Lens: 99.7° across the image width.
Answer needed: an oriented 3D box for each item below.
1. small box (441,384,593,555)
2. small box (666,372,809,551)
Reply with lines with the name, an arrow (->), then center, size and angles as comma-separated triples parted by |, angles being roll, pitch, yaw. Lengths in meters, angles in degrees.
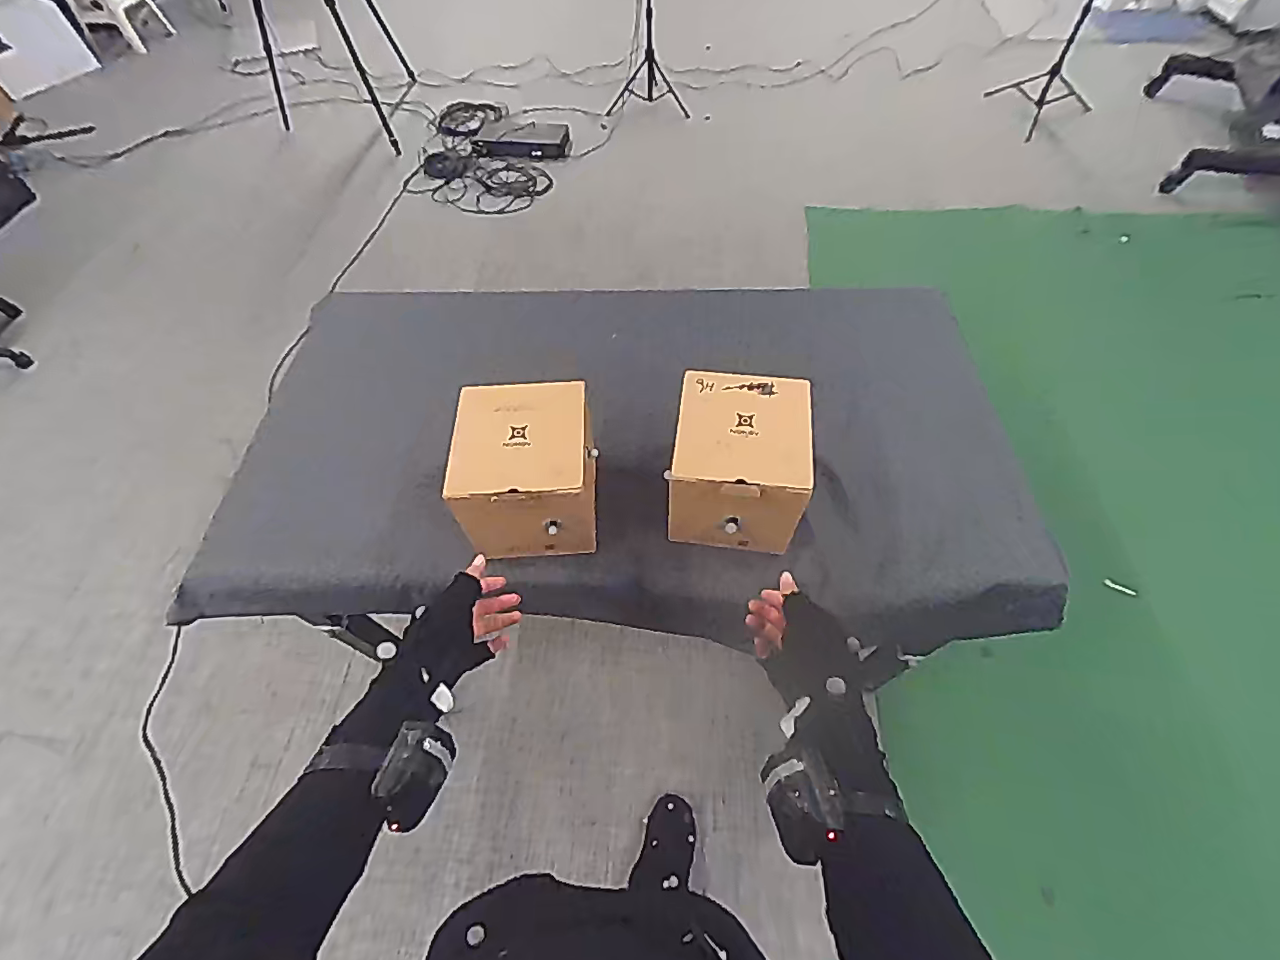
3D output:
small box -> -0.153, -0.007, 0.736 | 0.168, 0.176, 0.179 | -3, 55, -2
small box -> 0.127, -0.019, 0.733 | 0.168, 0.176, 0.179 | 7, 58, 5
